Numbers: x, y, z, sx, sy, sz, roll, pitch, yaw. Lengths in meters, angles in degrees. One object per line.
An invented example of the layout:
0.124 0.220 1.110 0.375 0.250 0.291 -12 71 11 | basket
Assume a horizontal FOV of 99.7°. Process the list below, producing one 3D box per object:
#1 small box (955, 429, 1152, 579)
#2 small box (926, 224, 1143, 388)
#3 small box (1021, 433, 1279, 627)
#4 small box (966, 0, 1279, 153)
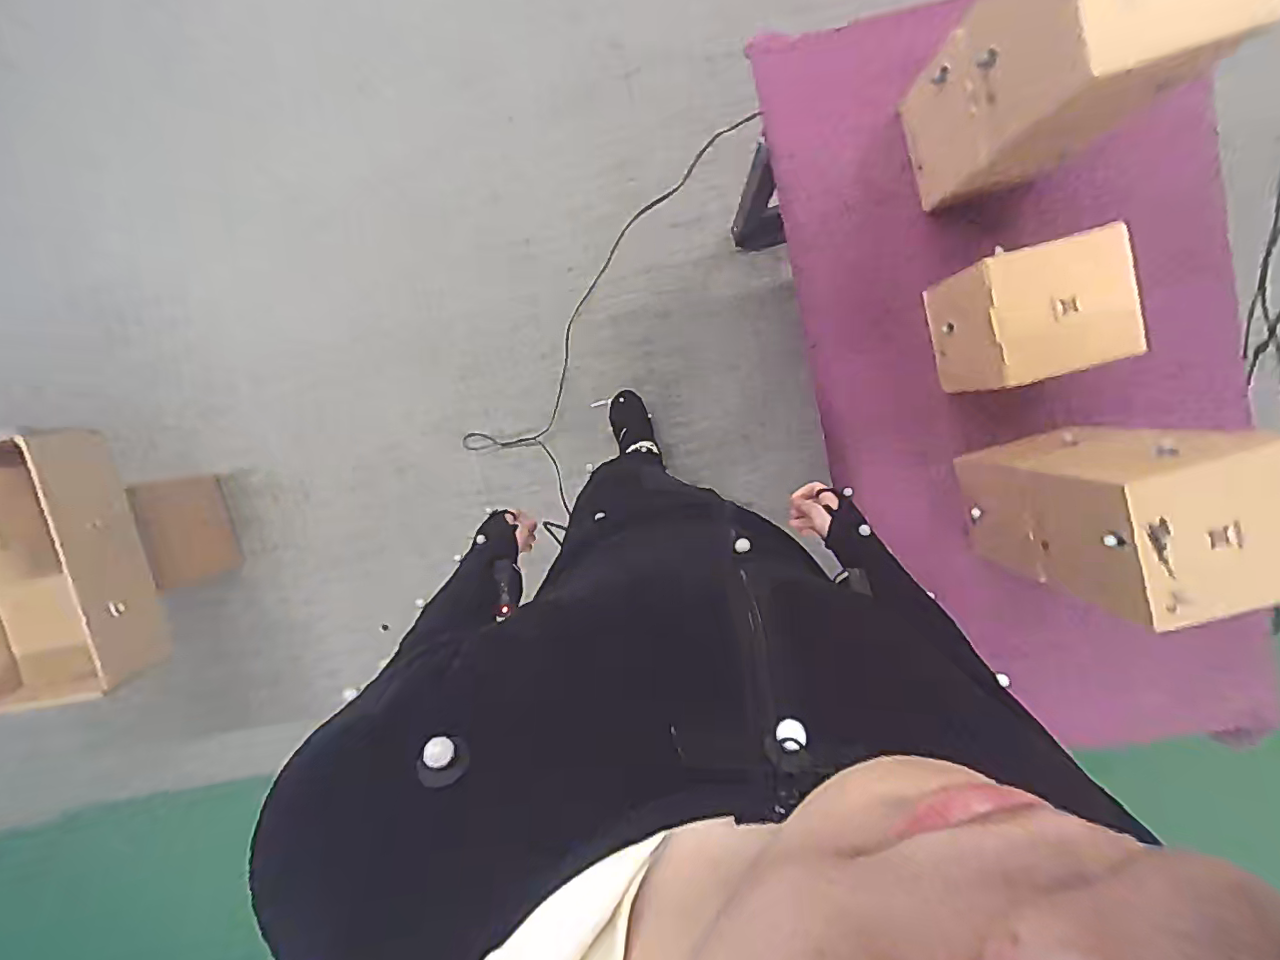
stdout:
0.604 0.024 0.792 0.179 0.176 0.168 -15 95 5 | small box
0.543 -0.232 0.766 0.179 0.176 0.168 -14 96 5 | small box
0.597 0.045 0.629 0.179 0.176 0.168 -16 95 4 | small box
0.488 -0.486 0.570 0.179 0.176 0.168 -15 96 4 | small box
